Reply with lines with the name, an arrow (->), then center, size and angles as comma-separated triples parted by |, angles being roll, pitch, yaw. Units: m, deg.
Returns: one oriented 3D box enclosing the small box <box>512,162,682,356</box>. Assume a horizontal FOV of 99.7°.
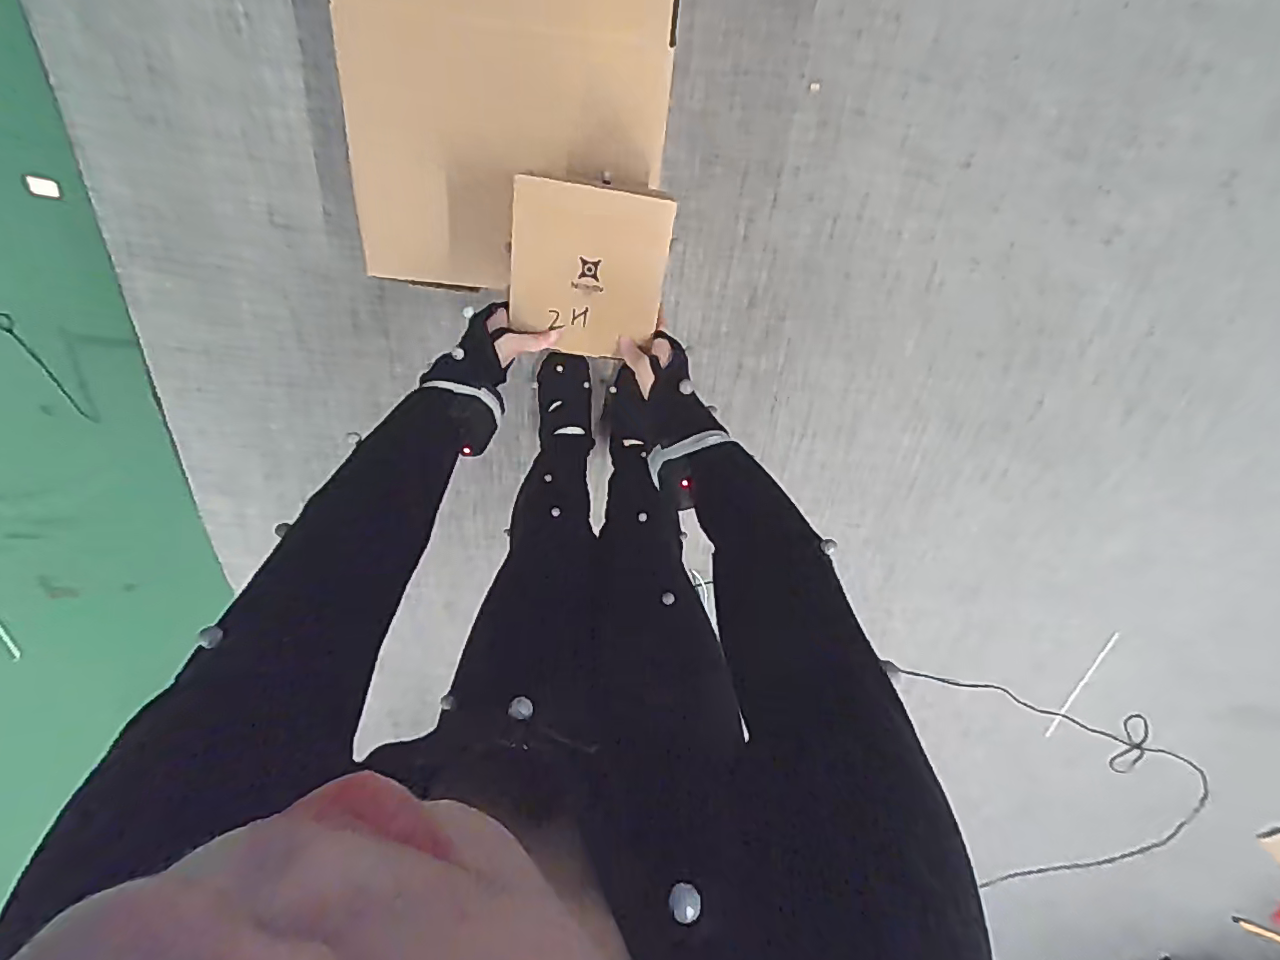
small box -> -0.054, -0.271, 0.652 | 0.168, 0.176, 0.179 | 8, 121, -6
